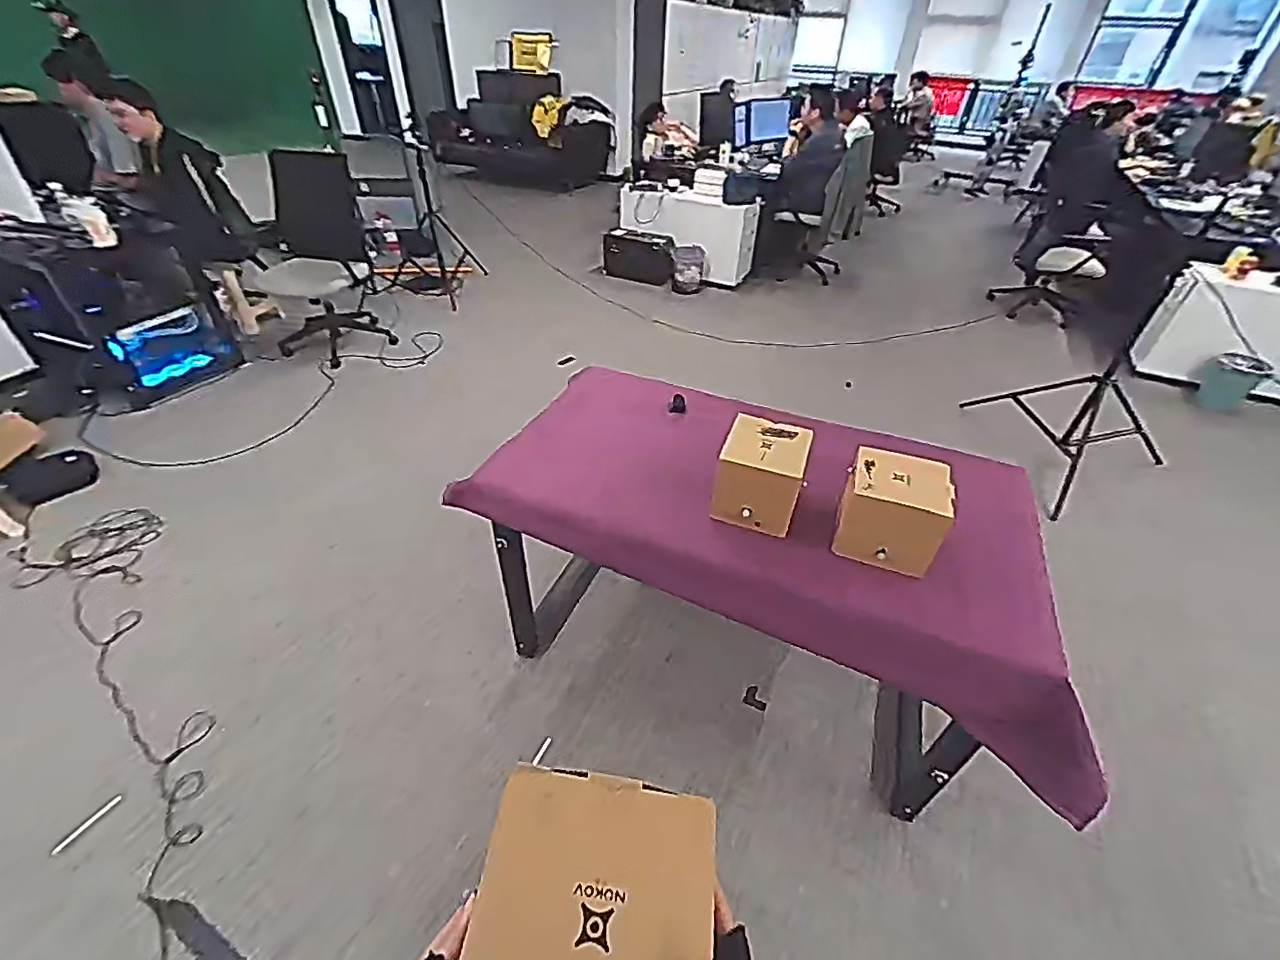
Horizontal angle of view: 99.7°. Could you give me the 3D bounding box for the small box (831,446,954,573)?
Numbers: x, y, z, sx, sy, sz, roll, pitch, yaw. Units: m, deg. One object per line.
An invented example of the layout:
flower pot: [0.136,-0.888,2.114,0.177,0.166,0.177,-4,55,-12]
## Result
small box: [0.501,0.062,1.086,0.179,0.176,0.168,16,41,15]

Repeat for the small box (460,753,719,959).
small box: [-0.041,0.345,0.420,0.168,0.176,0.179,12,45,-1]

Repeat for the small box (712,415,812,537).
small box: [0.259,-0.010,1.161,0.168,0.176,0.179,15,41,15]
